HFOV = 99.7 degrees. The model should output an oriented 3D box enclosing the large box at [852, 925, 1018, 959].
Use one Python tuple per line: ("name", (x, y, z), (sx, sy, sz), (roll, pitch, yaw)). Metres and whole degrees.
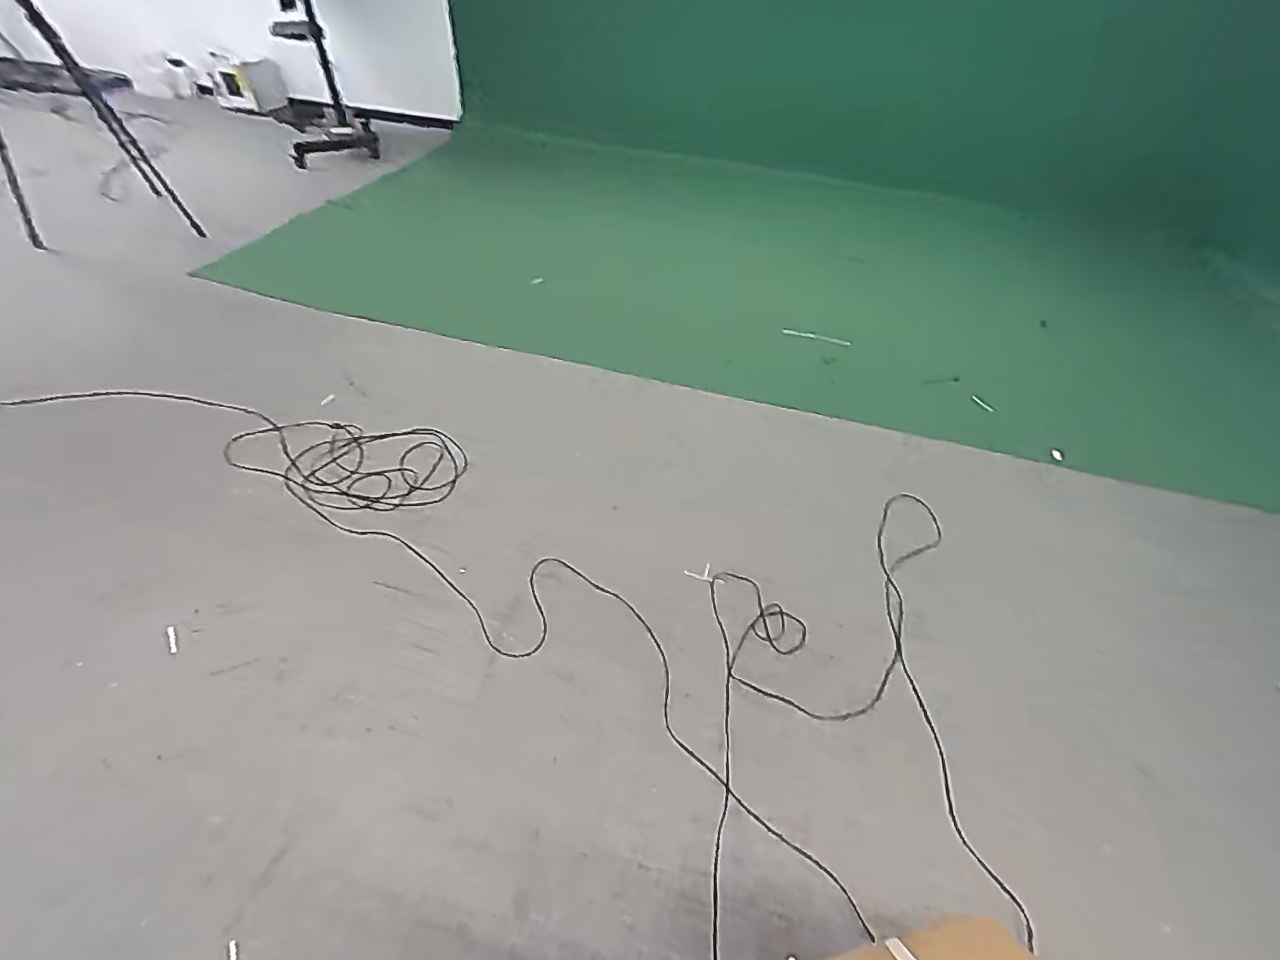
("large box", (0.412, 0.807, 0.574), (0.320, 0.408, 0.320), (-9, 83, -8))
